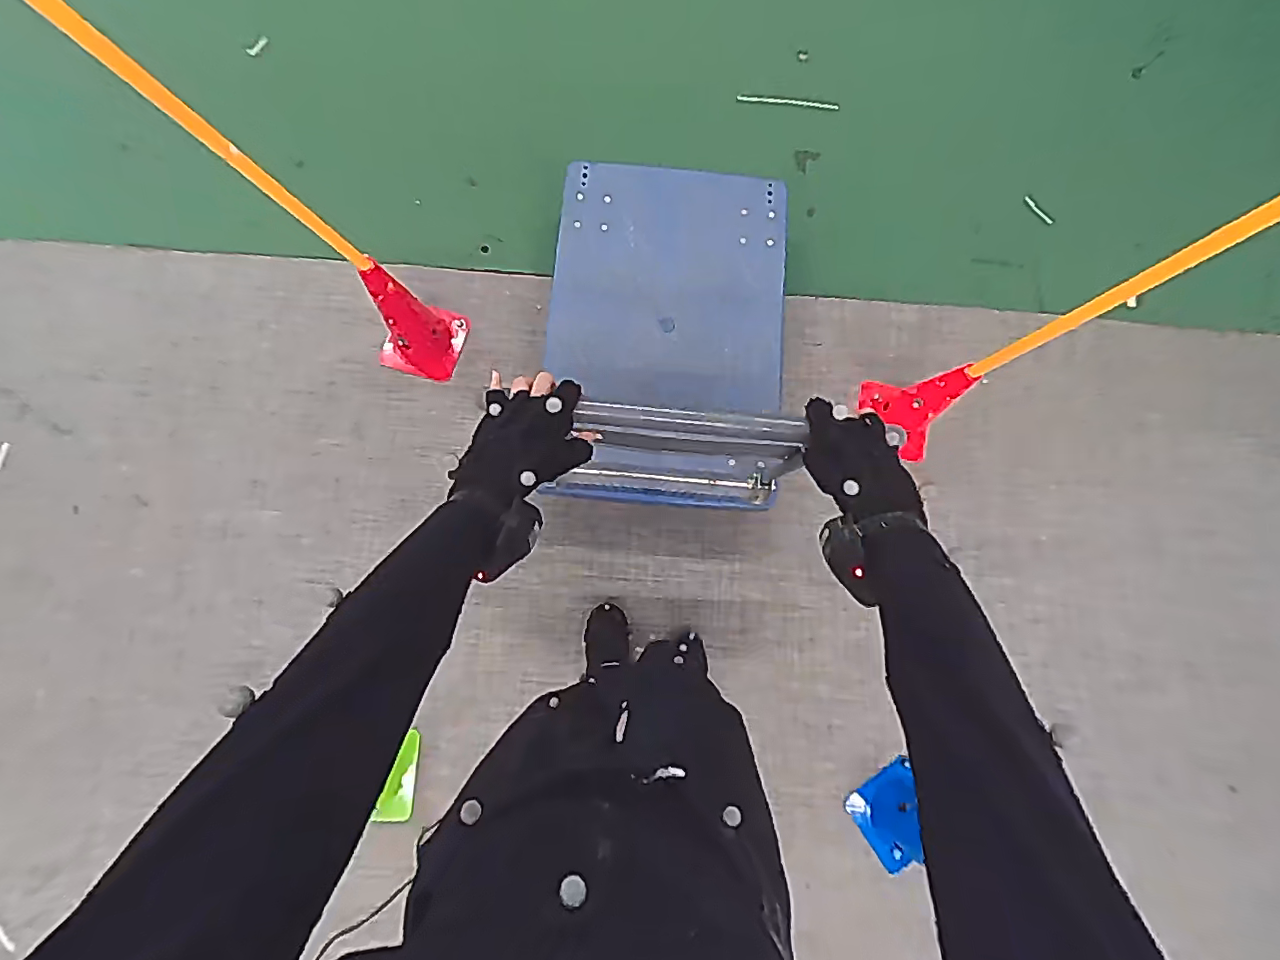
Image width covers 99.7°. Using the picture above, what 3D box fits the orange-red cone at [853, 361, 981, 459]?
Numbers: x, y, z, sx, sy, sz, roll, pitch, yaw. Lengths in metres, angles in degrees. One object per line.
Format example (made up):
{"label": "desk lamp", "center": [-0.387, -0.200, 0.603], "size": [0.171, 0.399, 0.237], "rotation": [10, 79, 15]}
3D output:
{"label": "orange-red cone", "center": [0.691, -0.197, 1.298], "size": [0.198, 0.360, 0.199], "rotation": [15, 80, 2]}
